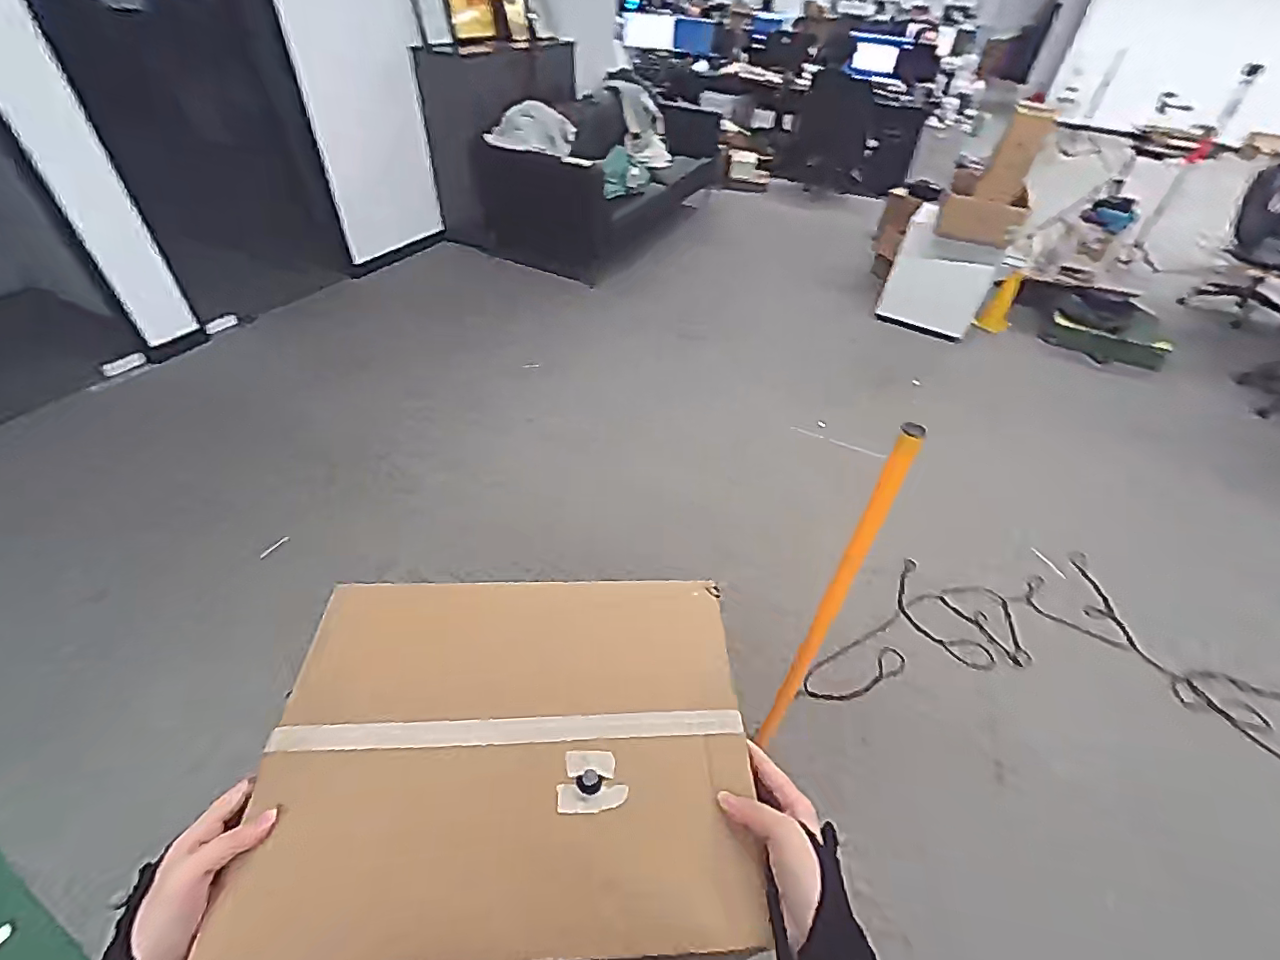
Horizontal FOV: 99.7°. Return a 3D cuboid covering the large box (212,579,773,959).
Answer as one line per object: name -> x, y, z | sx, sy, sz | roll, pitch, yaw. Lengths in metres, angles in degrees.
large box -> -0.121, 0.329, 0.592 | 0.408, 0.320, 0.320 | 0, 45, -7
